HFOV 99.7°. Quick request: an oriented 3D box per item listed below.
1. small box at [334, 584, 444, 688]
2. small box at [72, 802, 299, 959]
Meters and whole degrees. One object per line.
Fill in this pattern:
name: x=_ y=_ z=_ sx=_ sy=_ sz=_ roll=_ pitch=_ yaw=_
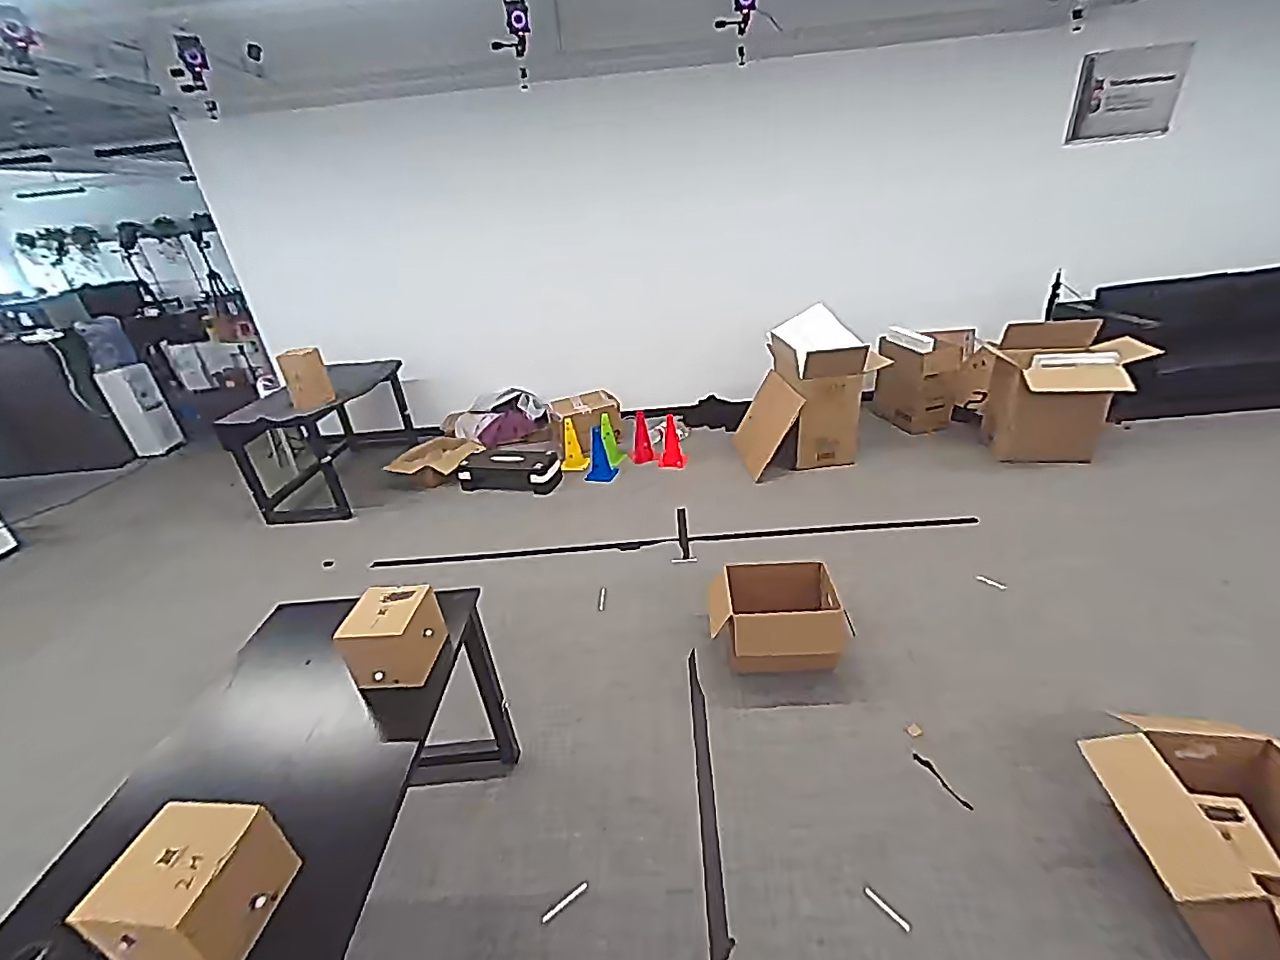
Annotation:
small box: x=-0.593 y=0.375 z=1.308 sx=0.168 sy=0.176 sz=0.179 roll=-5 pitch=29 yaw=5
small box: x=-0.684 y=0.633 z=0.838 sx=0.179 sy=0.176 sz=0.168 roll=-2 pitch=28 yaw=7
